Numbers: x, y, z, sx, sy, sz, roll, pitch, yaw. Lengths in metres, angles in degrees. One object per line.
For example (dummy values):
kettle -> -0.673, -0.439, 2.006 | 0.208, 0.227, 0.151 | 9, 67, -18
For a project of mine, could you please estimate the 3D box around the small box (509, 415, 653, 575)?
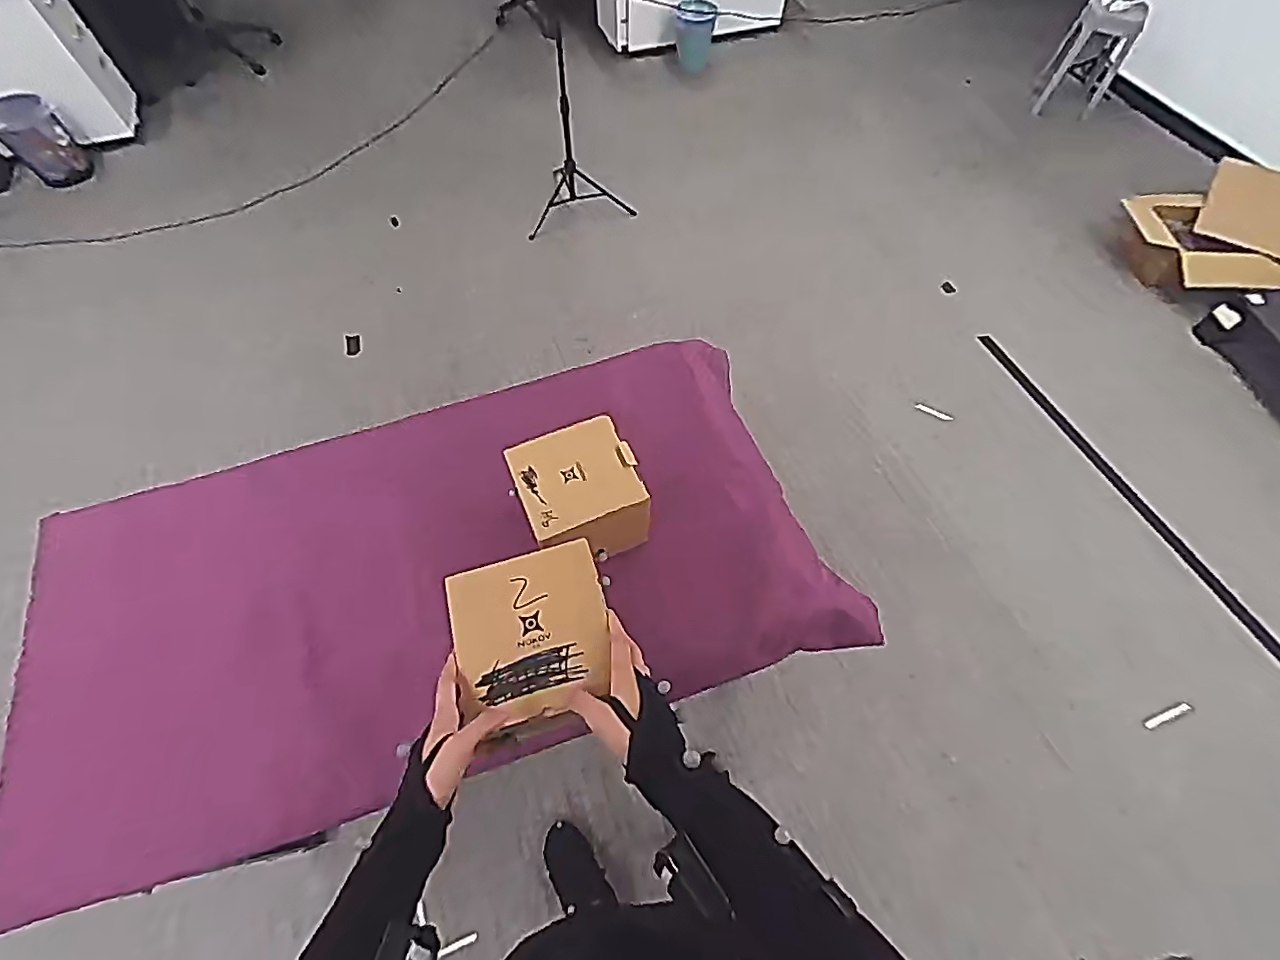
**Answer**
small box -> -0.092, 0.028, 0.869 | 0.179, 0.176, 0.168 | -20, 62, -12
